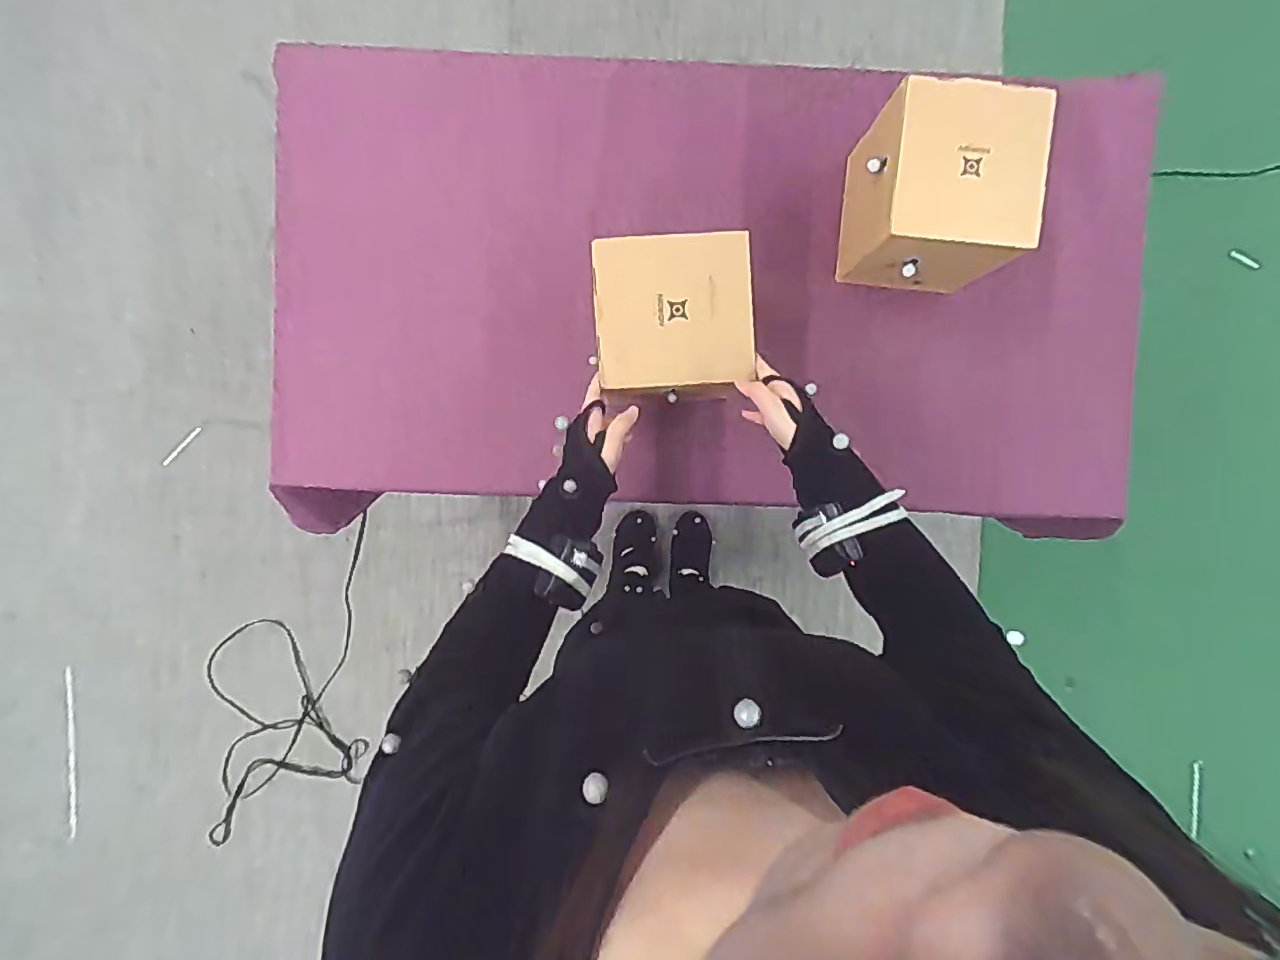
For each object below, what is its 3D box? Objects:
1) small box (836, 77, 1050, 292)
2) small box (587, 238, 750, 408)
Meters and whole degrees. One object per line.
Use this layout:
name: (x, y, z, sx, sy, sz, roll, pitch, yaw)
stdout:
small box: (0.356, -0.347, 0.670, 0.168, 0.176, 0.179, 6, 91, 0)
small box: (0.032, -0.182, 0.674, 0.179, 0.176, 0.168, -3, 92, -1)
